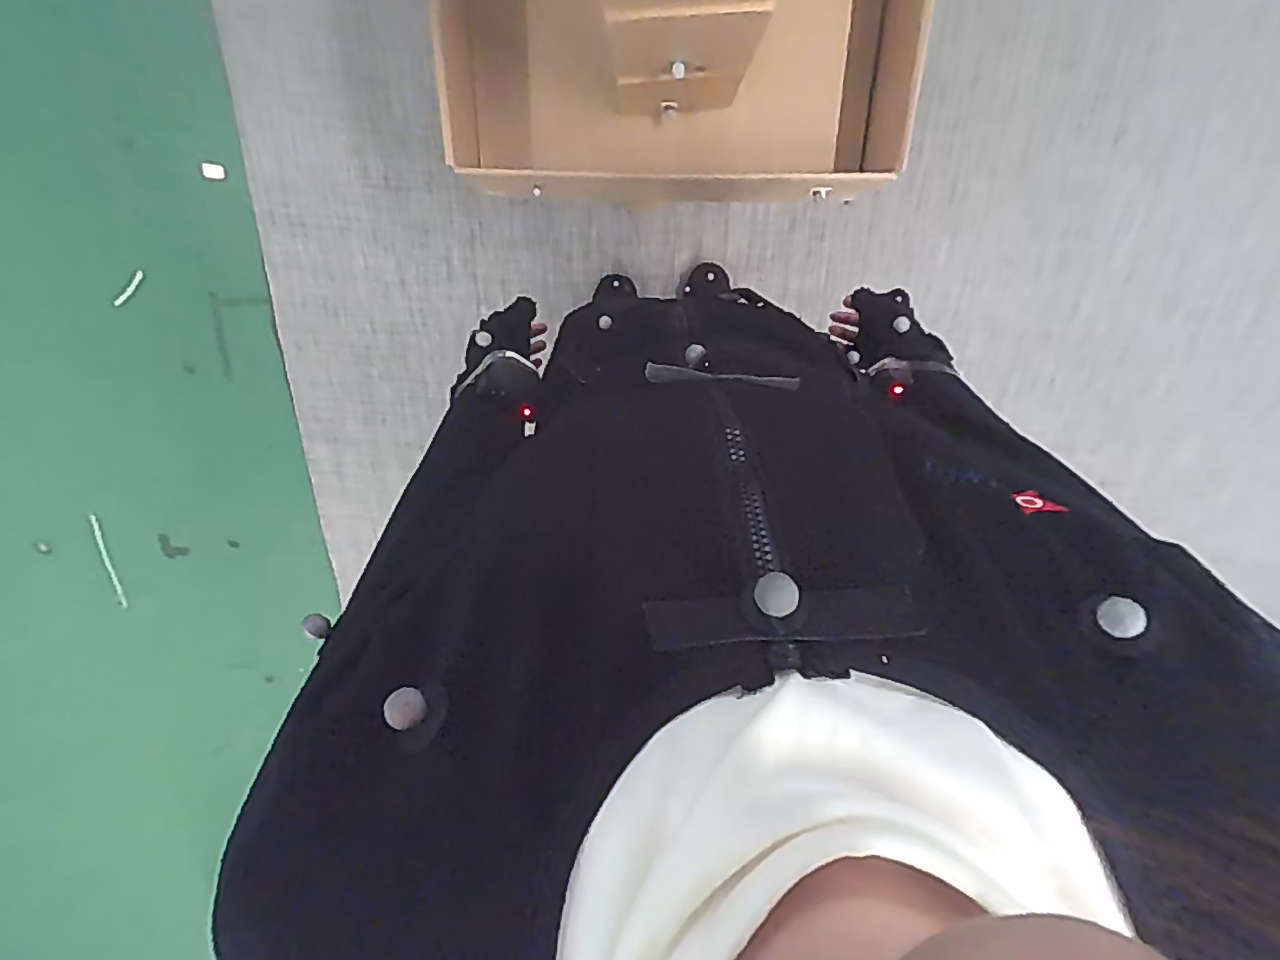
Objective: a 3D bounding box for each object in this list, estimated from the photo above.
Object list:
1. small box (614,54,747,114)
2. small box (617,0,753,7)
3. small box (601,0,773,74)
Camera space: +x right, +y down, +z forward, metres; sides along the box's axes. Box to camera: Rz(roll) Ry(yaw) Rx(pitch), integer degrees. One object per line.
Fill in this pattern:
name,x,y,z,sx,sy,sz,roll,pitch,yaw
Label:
small box,0.047,-0.609,0.711,0.168,0.176,0.179,-3,112,3
small box,0.041,-0.501,0.401,0.168,0.176,0.179,-1,110,3
small box,0.045,-0.552,0.557,0.168,0.176,0.179,-1,112,3
